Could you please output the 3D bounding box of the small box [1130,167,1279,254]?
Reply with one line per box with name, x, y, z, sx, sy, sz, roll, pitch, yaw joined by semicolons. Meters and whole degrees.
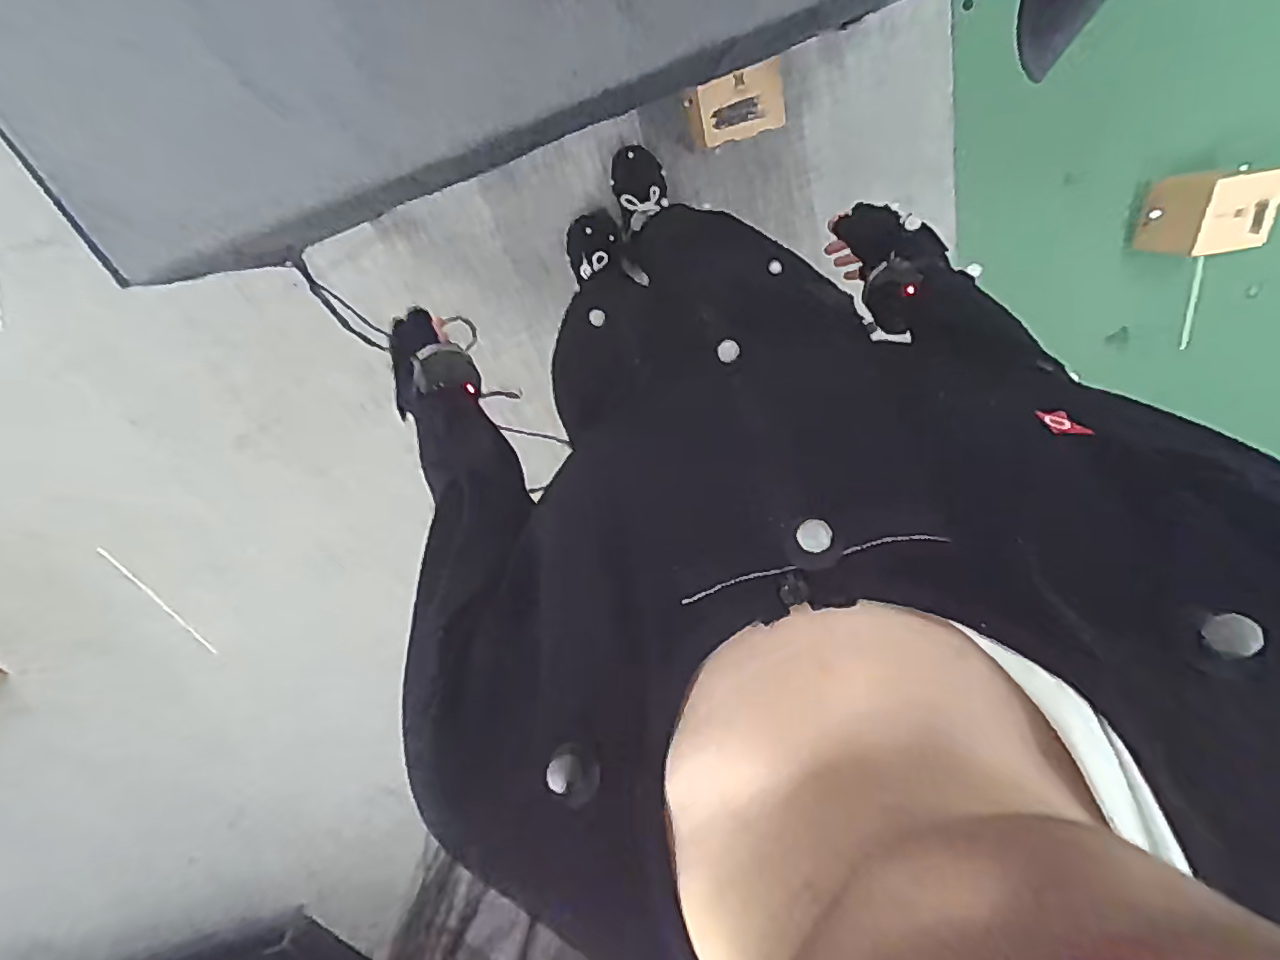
small box;1.362;-0.655;1.308;0.179;0.176;0.168;-9;119;0
